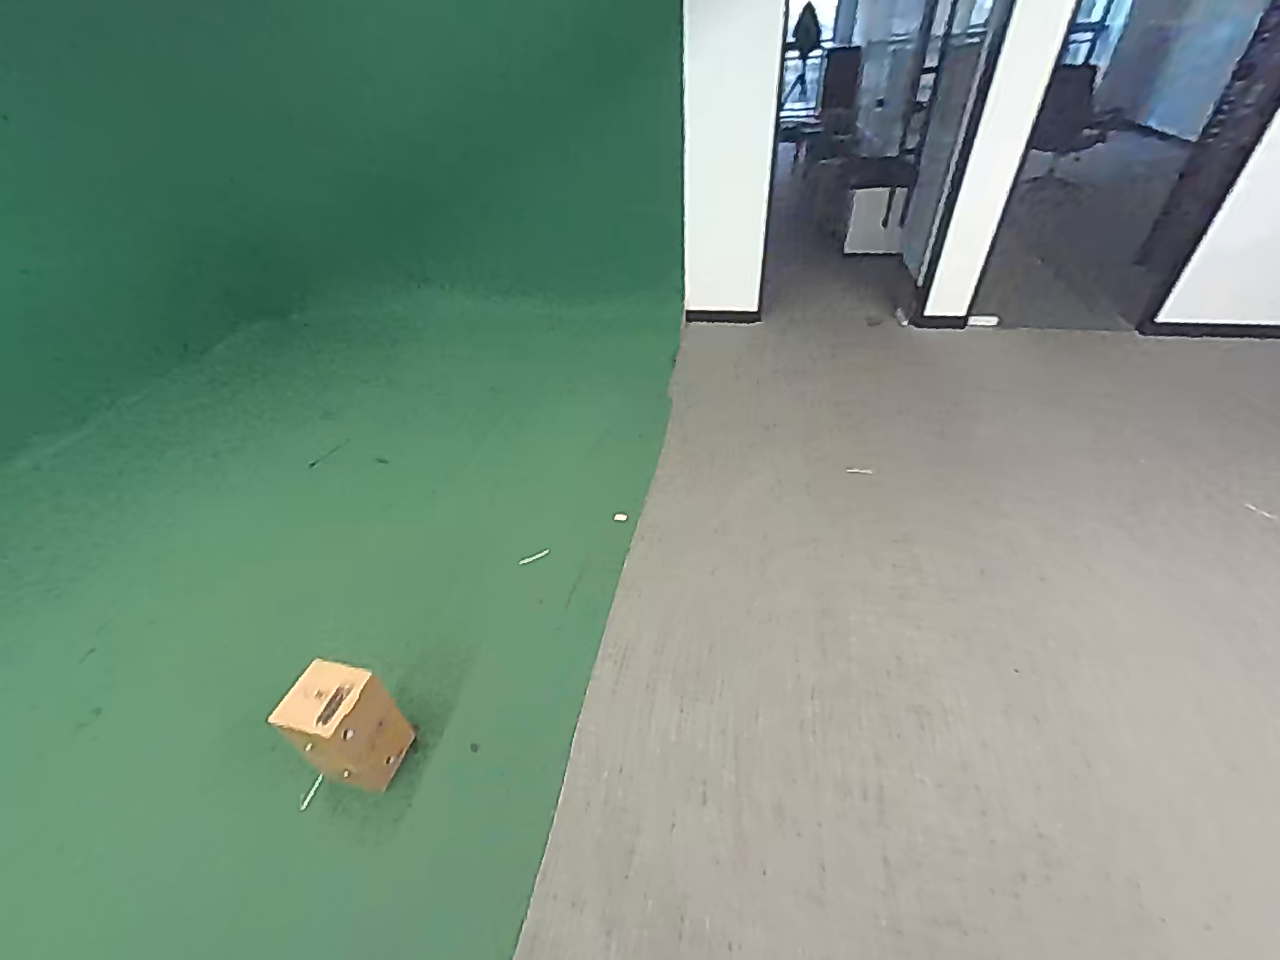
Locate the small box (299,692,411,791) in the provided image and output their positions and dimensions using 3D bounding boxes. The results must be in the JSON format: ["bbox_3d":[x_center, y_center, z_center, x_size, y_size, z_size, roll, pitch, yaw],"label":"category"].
[{"bbox_3d":[-0.752,0.702,1.447,0.179,0.176,0.168,8,42,12],"label":"small box"}]
